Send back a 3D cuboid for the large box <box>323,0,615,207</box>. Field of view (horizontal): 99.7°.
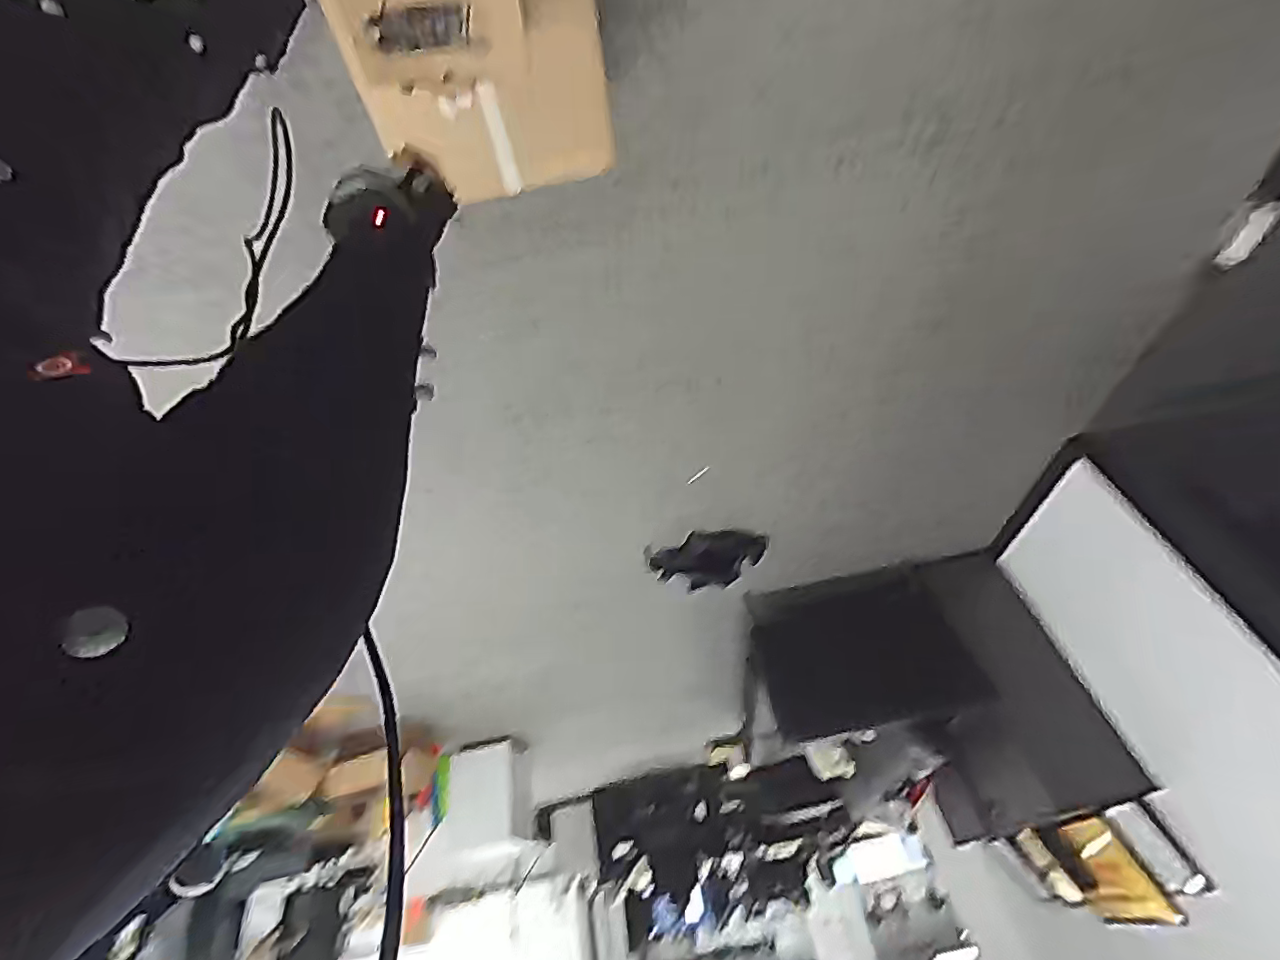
[{"bbox_3d":[-0.235,-0.670,0.742,0.320,0.320,0.408,-11,142,-2],"label":"large box"}]
